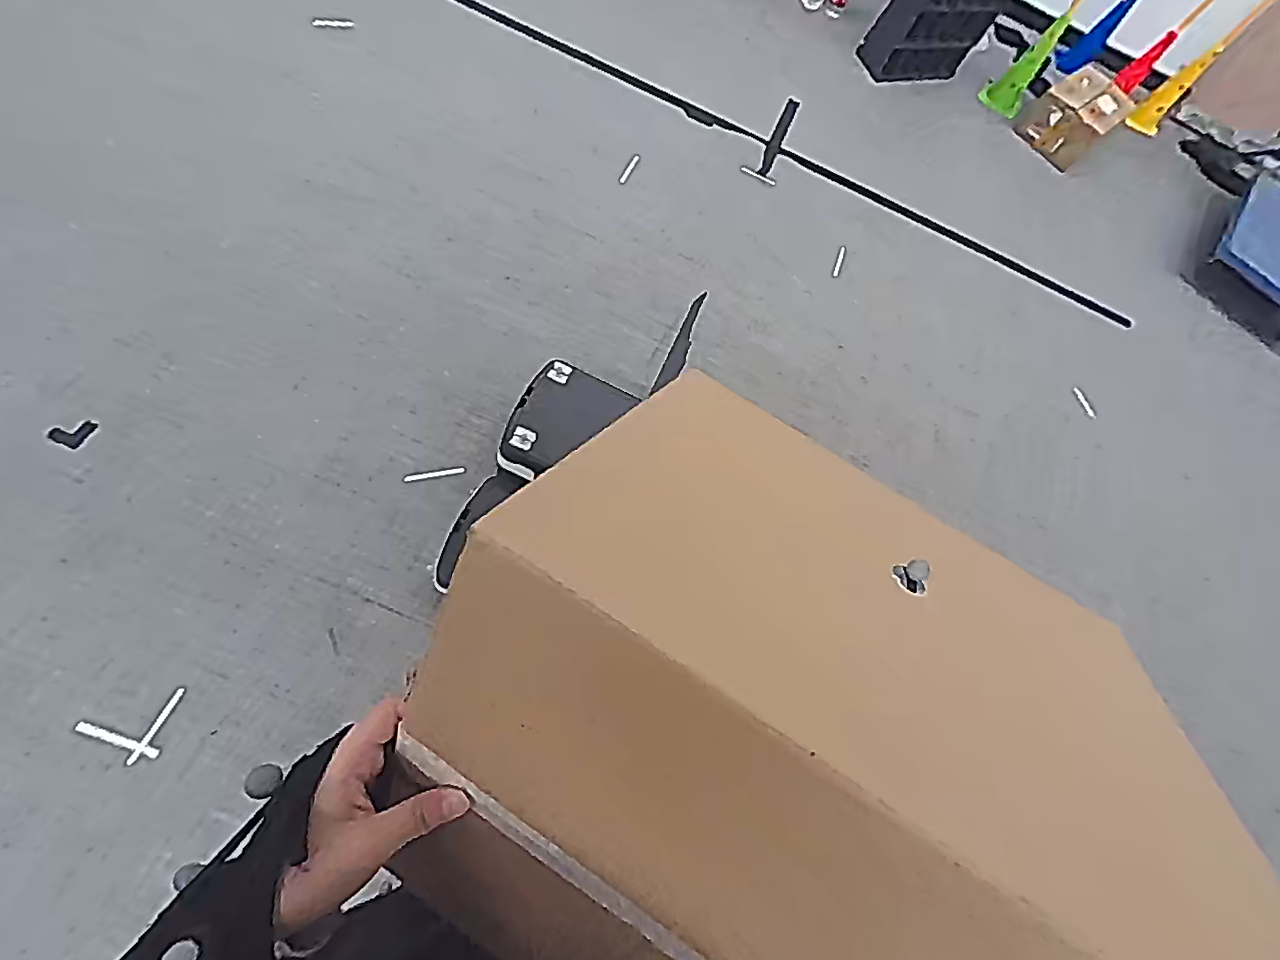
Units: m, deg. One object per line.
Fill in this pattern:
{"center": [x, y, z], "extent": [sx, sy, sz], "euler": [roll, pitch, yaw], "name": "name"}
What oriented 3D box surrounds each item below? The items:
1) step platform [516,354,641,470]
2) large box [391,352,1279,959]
{"center": [0.043, -0.020, 1.328], "extent": [0.684, 0.204, 0.286], "euler": [31, 65, -1], "name": "step platform"}
{"center": [0.109, 0.156, 0.392], "extent": [0.408, 0.320, 0.320], "euler": [32, 32, 6], "name": "large box"}
